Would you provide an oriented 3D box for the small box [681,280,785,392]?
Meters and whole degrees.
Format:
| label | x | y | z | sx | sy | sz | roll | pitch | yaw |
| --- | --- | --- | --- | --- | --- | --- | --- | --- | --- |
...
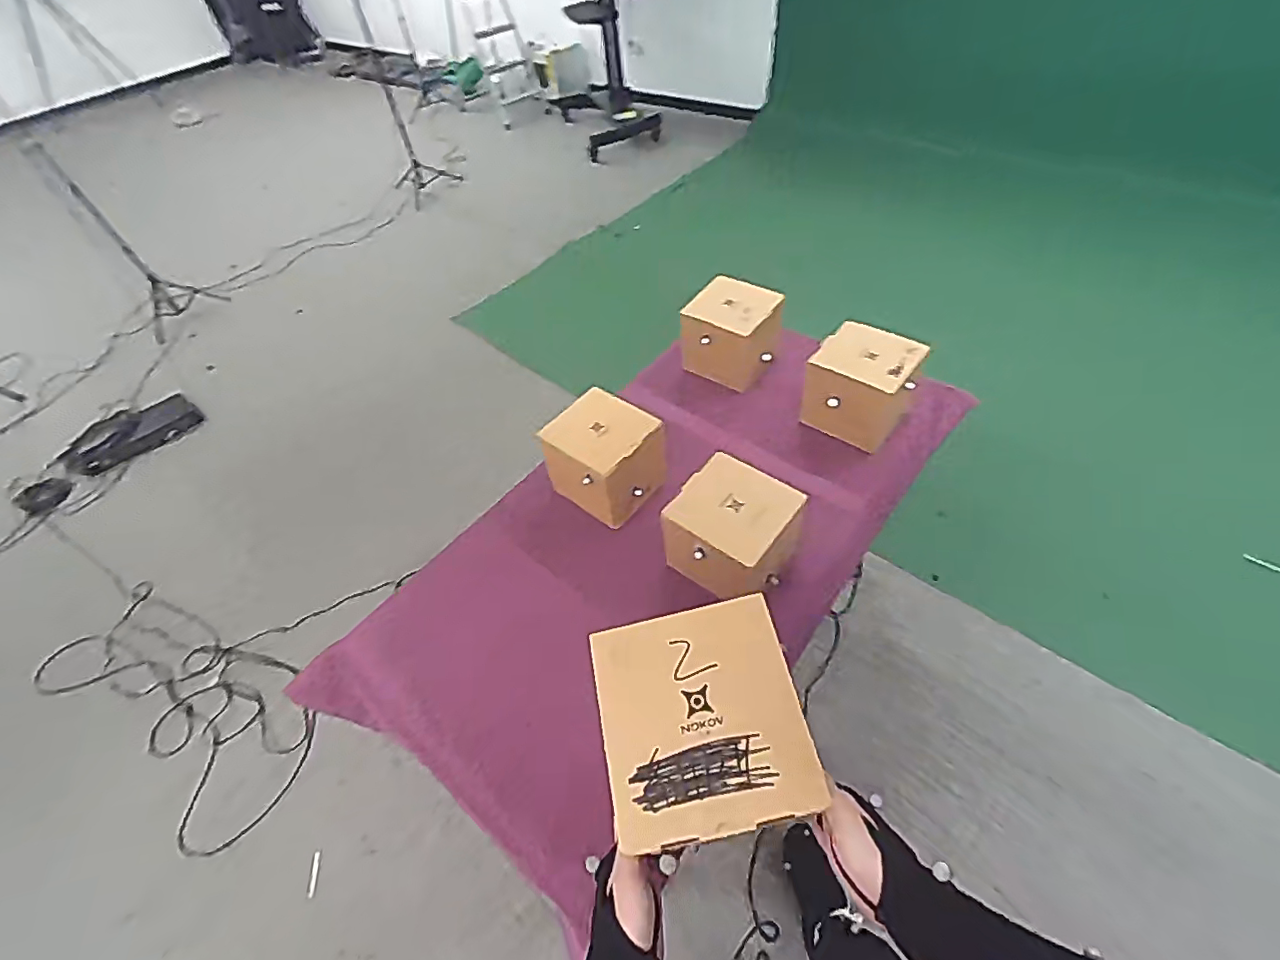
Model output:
| label | x | y | z | sx | sy | sz | roll | pitch | yaw |
| --- | --- | --- | --- | --- | --- | --- | --- | --- | --- |
| small box | 0.214 | -0.335 | 1.268 | 0.179 | 0.176 | 0.168 | 30 | 62 | 26 |

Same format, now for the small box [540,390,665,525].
| label | x | y | z | sx | sy | sz | roll | pitch | yaw |
| --- | --- | --- | --- | --- | --- | --- | --- | --- | --- |
| small box | -0.067 | -0.040 | 1.065 | 0.179 | 0.176 | 0.168 | 31 | 60 | 26 |

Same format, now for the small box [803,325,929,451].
| label | x | y | z | sx | sy | sz | roll | pitch | yaw |
| --- | --- | --- | --- | --- | --- | --- | --- | --- | --- |
| small box | 0.457 | -0.187 | 1.121 | 0.179 | 0.176 | 0.168 | 30 | 61 | 30 |

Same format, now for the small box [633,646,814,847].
| label | x | y | z | sx | sy | sz | roll | pitch | yaw |
| --- | --- | --- | --- | --- | --- | --- | --- | --- | --- |
| small box | 0.096 | 0.321 | 0.648 | 0.168 | 0.176 | 0.179 | -12 | 56 | 3 |
